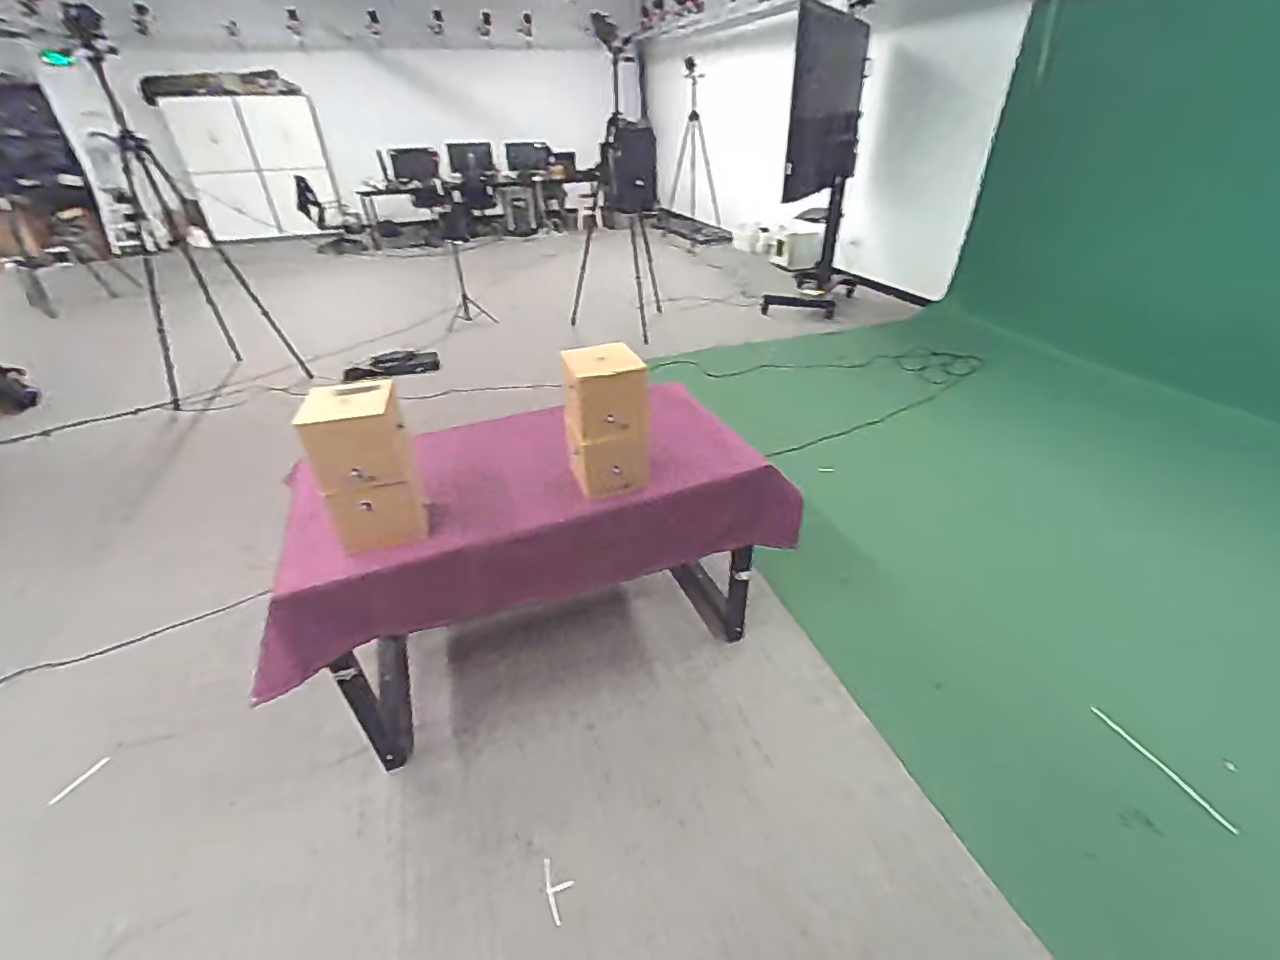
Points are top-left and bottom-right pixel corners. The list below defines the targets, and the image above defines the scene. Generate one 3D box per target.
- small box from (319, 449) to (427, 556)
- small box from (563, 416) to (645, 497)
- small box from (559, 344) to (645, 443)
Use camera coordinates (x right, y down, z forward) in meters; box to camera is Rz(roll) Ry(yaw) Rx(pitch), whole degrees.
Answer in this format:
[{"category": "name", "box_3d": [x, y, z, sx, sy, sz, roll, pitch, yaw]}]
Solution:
[{"category": "small box", "box_3d": [-0.601, 0.052, 1.239, 0.179, 0.176, 0.168, -11, 35, -15]}, {"category": "small box", "box_3d": [-0.090, -0.071, 1.392, 0.168, 0.176, 0.179, -13, 36, -17]}, {"category": "small box", "box_3d": [-0.093, -0.211, 1.308, 0.168, 0.176, 0.179, -14, 37, -16]}]
